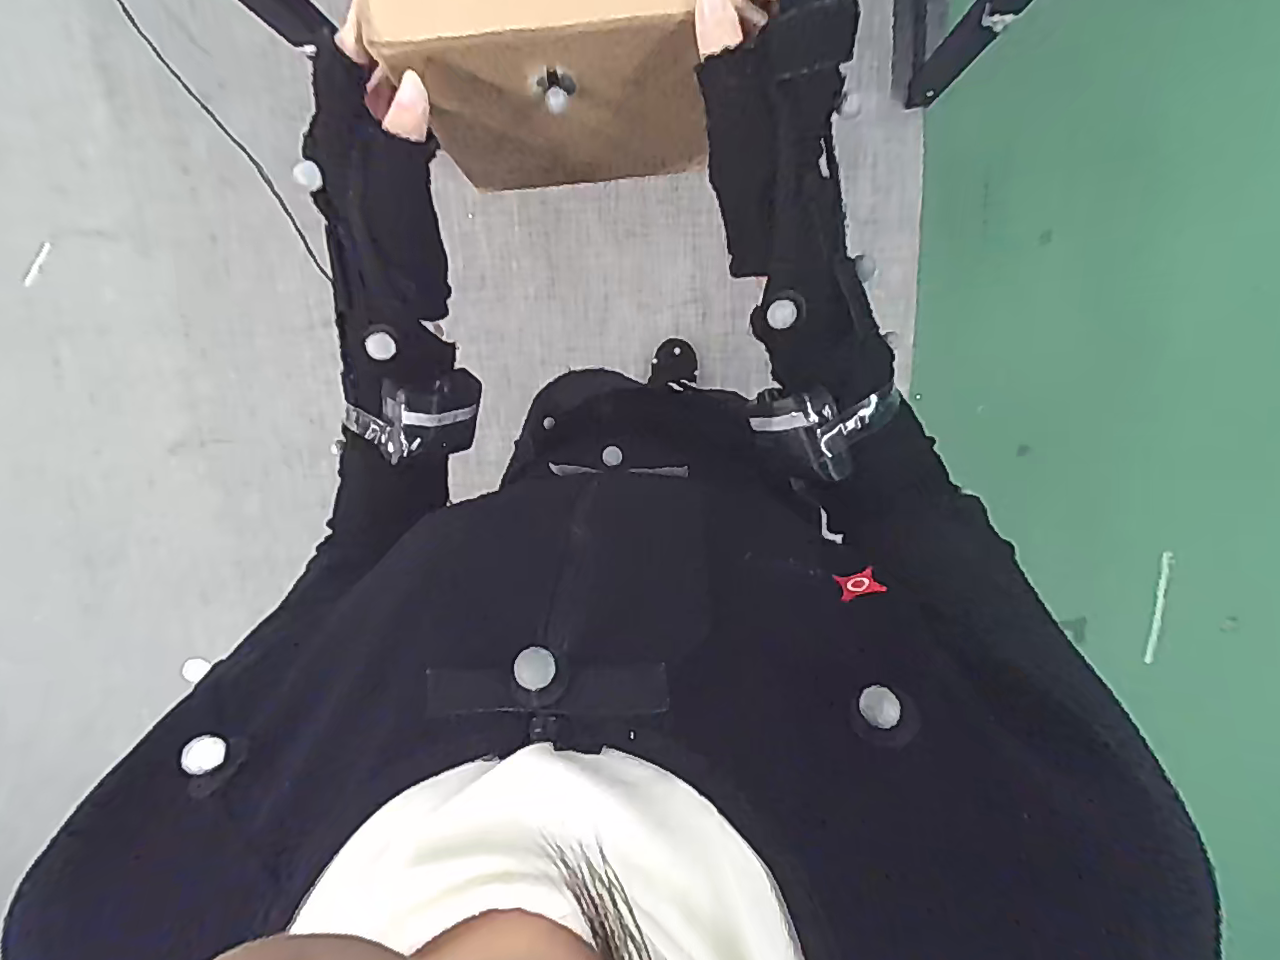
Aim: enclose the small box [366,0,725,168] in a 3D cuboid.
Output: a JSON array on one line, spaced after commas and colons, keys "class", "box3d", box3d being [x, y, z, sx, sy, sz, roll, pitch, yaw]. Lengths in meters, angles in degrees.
[{"class": "small box", "box3d": [-0.045, -0.309, 0.320, 0.179, 0.176, 0.168, -5, 97, 1]}]
